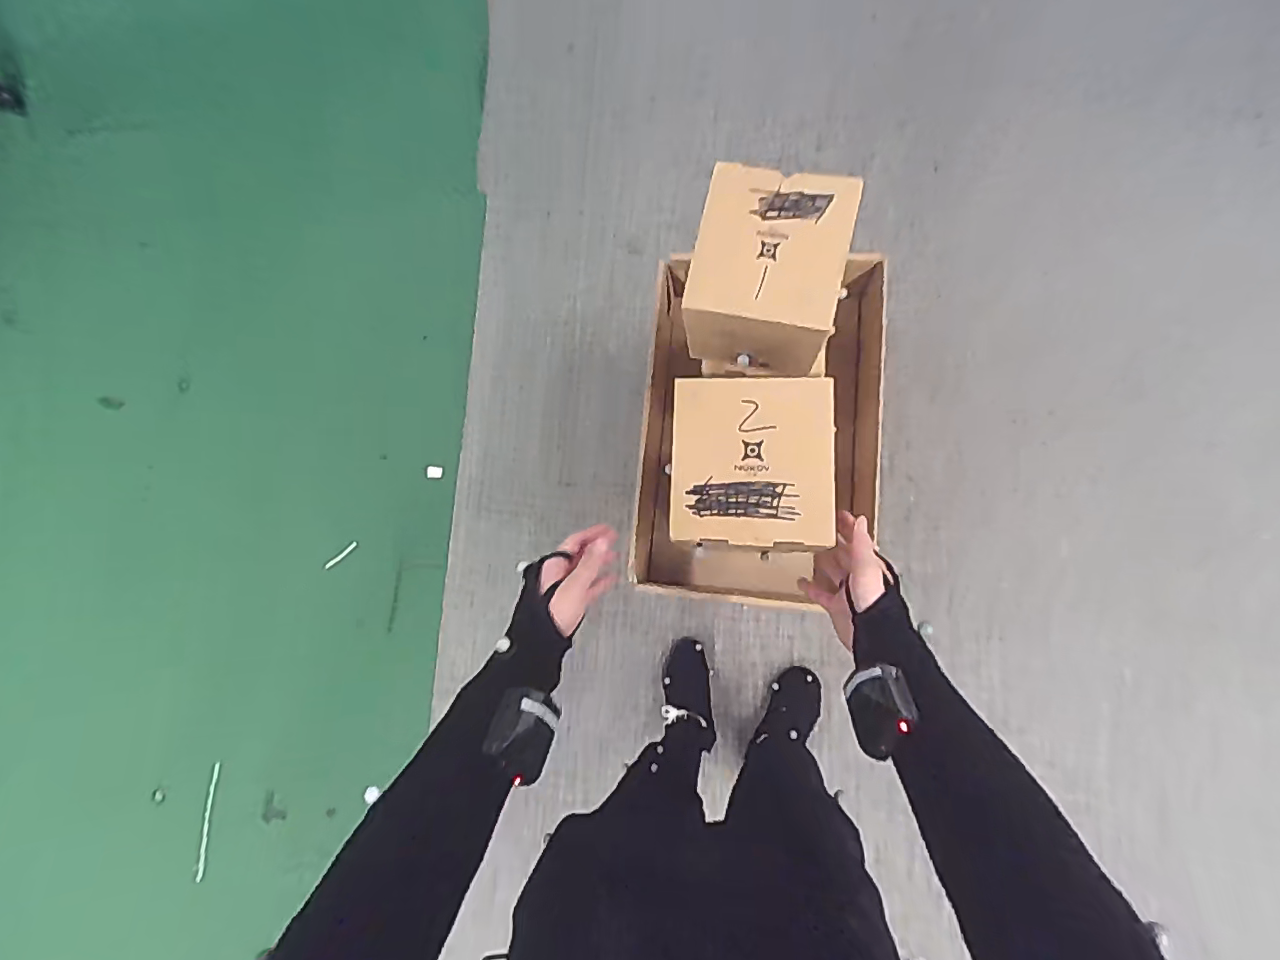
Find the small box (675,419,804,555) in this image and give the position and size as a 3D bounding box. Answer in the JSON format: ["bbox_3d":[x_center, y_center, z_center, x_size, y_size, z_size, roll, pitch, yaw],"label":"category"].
[{"bbox_3d":[0.145,0.017,0.797,0.168,0.176,0.179,2,80,9],"label":"small box"}]

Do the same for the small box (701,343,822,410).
[{"bbox_3d":[0.183,-0.218,0.835,0.168,0.176,0.179,3,83,9],"label":"small box"}]

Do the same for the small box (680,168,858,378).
[{"bbox_3d":[0.153,-0.247,0.676,0.168,0.176,0.179,13,86,11],"label":"small box"}]
